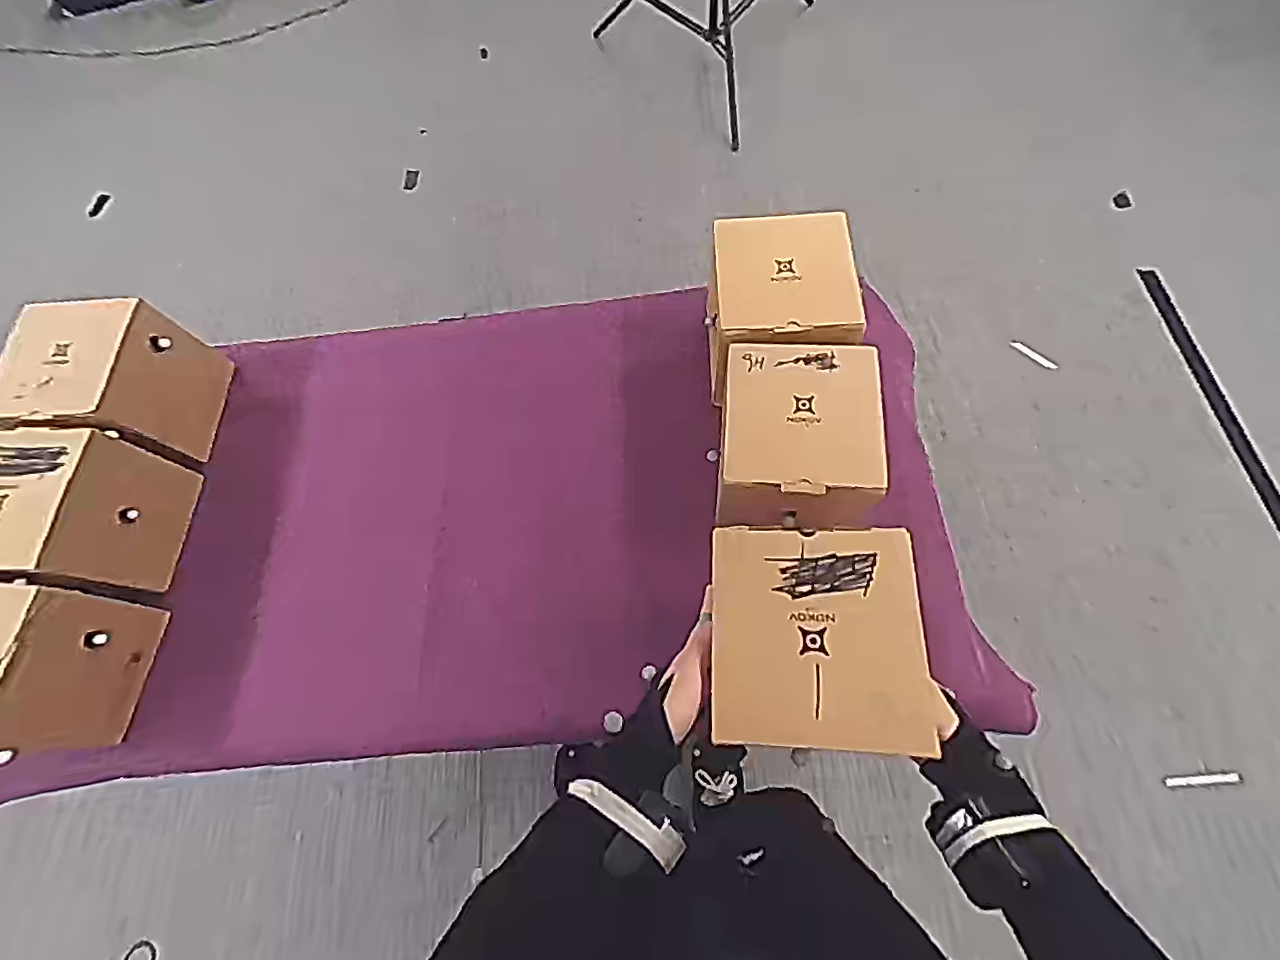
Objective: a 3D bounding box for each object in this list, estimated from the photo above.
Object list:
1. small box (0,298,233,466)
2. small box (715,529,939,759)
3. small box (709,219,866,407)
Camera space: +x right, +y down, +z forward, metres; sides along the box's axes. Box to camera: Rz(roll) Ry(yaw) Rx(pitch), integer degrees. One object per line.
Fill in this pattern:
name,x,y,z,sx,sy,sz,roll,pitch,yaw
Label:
small box,-0.732,-0.132,0.769,0.168,0.176,0.179,-2,70,4
small box,0.156,0.156,0.512,0.168,0.176,0.179,-1,66,10
small box,0.182,-0.216,0.724,0.168,0.176,0.179,-2,68,4
